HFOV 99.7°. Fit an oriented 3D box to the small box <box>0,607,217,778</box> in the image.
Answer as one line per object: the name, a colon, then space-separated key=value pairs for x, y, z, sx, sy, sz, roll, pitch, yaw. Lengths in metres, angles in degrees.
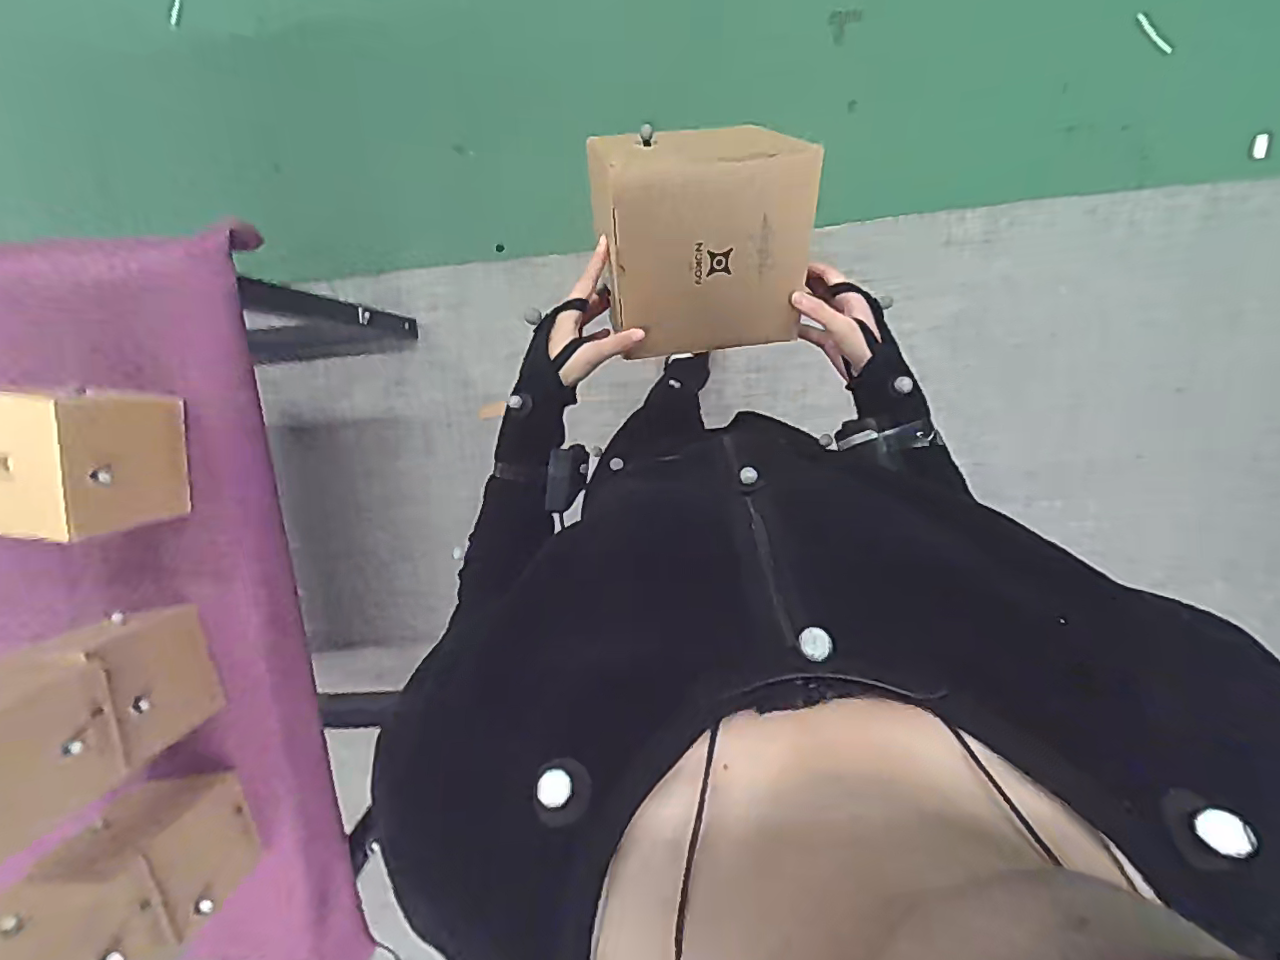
small box: x=-0.767 y=0.305 z=0.783 sx=0.168 sy=0.176 sz=0.179 roll=-10 pitch=98 yaw=5

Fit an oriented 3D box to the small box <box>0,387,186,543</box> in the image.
small box: x=-0.761 y=-0.030 z=0.726 sx=0.168 sy=0.176 sz=0.179 roll=6 pitch=101 yaw=4

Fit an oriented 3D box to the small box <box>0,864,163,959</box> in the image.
small box: x=-0.744 y=0.614 z=0.665 sx=0.179 sy=0.176 sz=0.168 roll=-11 pitch=98 yaw=5

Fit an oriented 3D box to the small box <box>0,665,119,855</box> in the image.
small box: x=-0.770 y=0.328 z=0.619 sx=0.179 sy=0.176 sz=0.168 roll=-3 pitch=99 yaw=4
